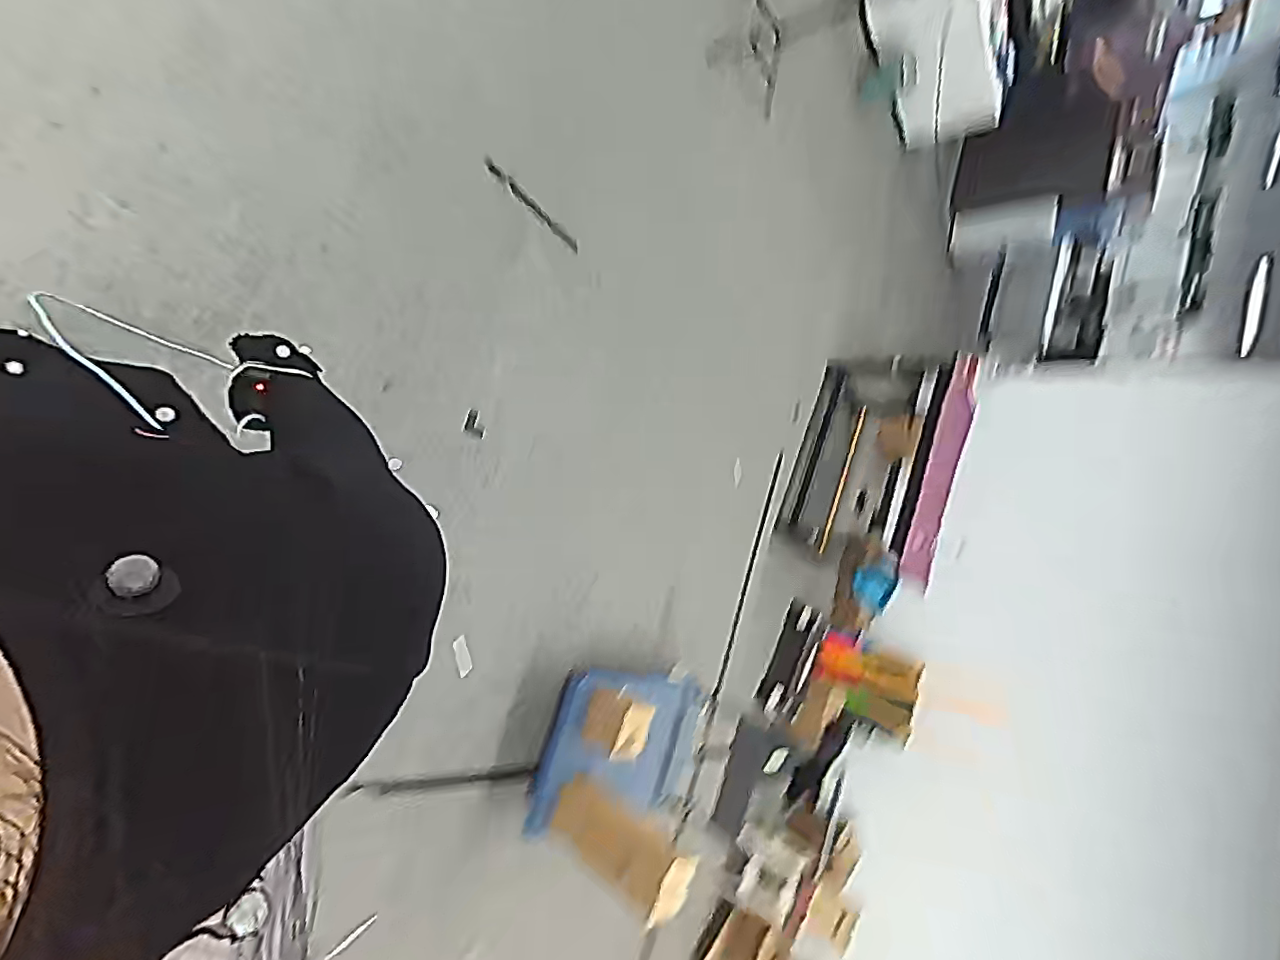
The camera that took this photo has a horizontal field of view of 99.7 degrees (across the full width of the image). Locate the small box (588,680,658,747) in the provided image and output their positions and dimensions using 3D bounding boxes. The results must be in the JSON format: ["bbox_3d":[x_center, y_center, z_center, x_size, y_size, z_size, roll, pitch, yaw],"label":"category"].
[{"bbox_3d":[-0.068,0.859,1.990,0.168,0.176,0.179,32,74,-47],"label":"small box"}]

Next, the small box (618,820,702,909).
[{"bbox_3d":[0.064,1.209,1.717,0.179,0.176,0.168,35,72,-46],"label":"small box"}]

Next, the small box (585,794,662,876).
[{"bbox_3d":[-0.060,1.183,1.823,0.168,0.176,0.179,33,74,-47],"label":"small box"}]
